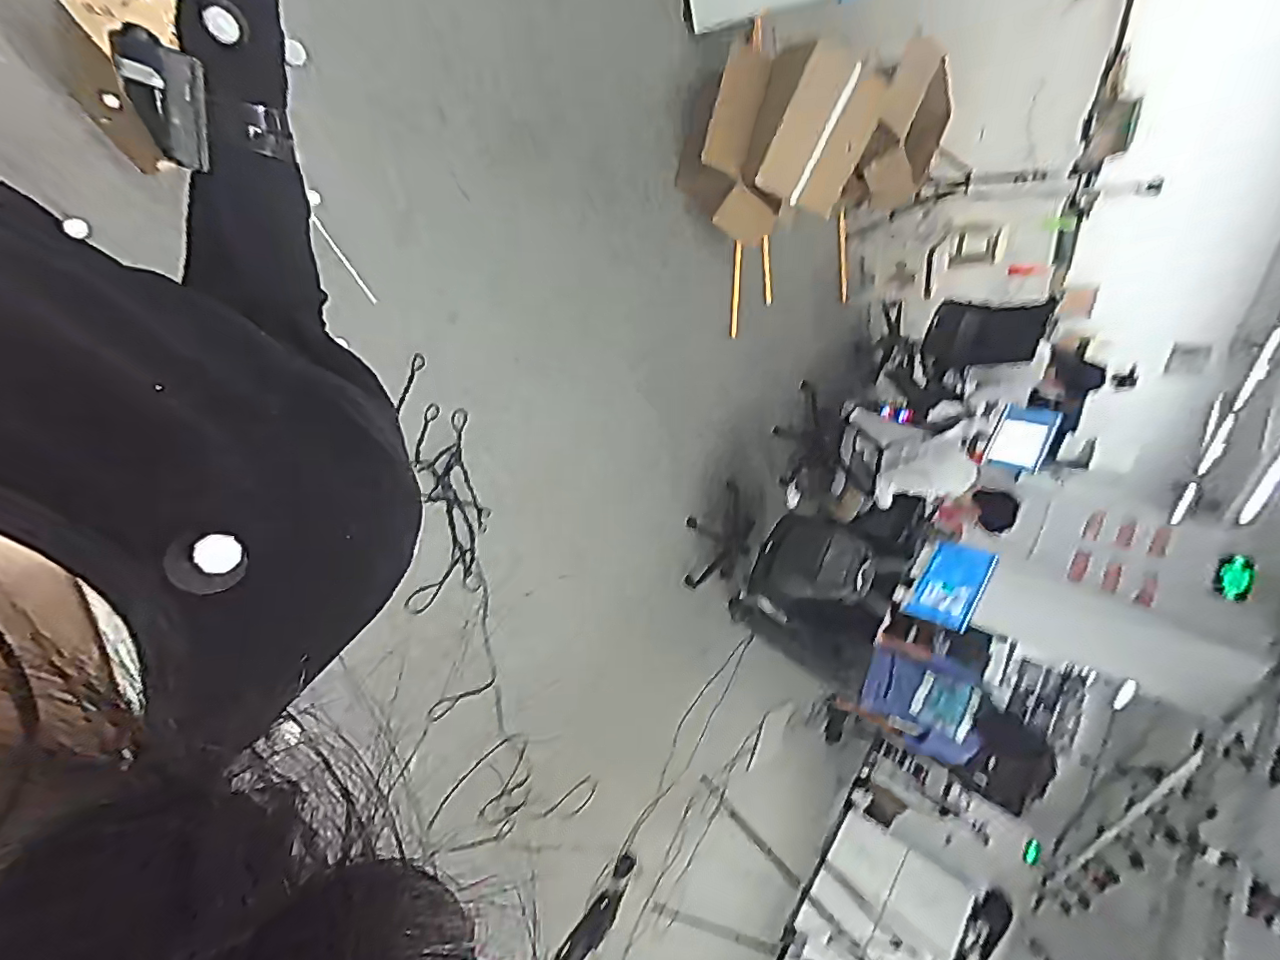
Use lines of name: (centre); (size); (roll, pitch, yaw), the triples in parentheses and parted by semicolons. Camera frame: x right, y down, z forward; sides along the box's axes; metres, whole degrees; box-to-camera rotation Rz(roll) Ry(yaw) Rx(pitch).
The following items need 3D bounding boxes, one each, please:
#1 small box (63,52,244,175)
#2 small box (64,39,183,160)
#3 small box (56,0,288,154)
small box: (-0.880, -0.682, 0.979); (0.168, 0.176, 0.179); (-48, 137, -24)
small box: (-0.764, -0.644, 0.869); (0.168, 0.176, 0.179); (-47, 136, -23)
small box: (-0.653, -0.585, 0.762); (0.168, 0.176, 0.179); (-49, 137, -23)
